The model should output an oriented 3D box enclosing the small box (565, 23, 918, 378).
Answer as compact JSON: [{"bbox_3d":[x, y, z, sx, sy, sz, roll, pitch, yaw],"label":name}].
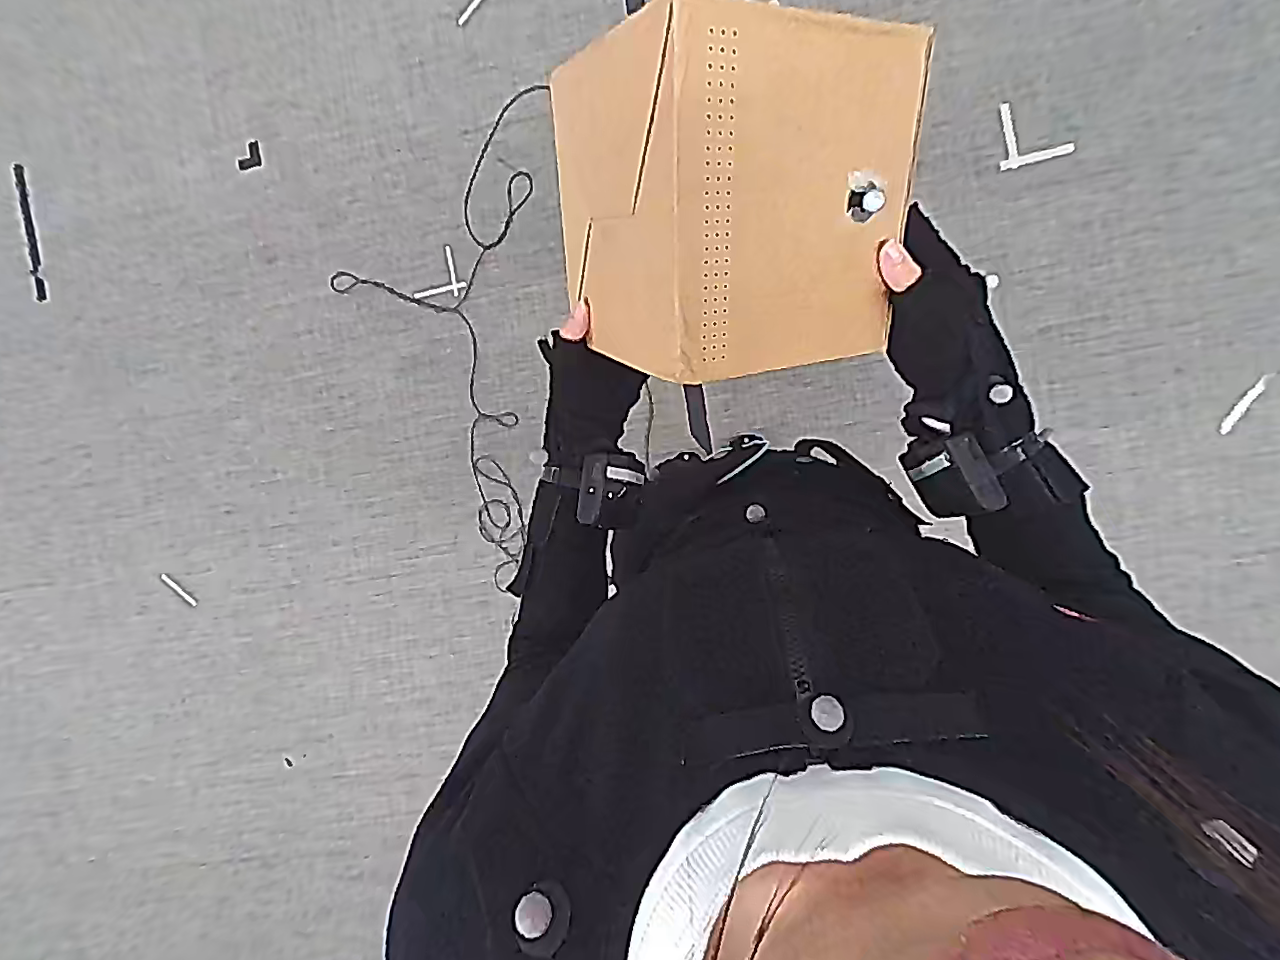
[{"bbox_3d":[0.054,-0.181,0.377,0.176,0.168,0.179,-13,116,-23],"label":"small box"}]
